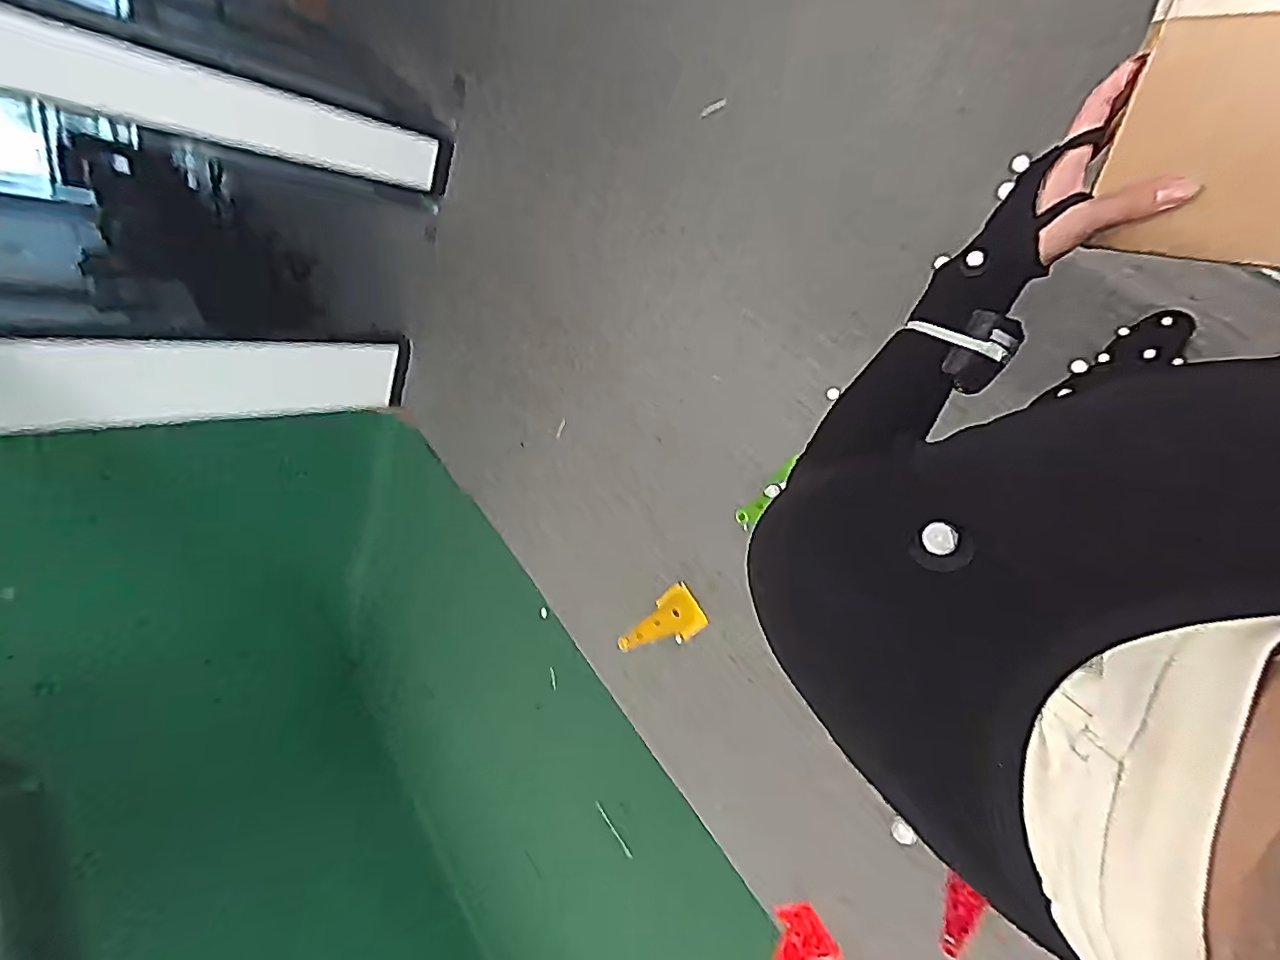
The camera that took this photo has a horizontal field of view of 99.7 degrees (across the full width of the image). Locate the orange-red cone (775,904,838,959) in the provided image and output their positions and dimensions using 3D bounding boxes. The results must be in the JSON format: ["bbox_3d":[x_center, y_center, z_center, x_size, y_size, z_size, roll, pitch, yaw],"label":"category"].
[{"bbox_3d":[0.528,1.770,1.954,0.199,0.360,0.198,53,130,18],"label":"orange-red cone"}]

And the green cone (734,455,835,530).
[{"bbox_3d":[0.410,0.072,1.686,0.200,0.368,0.202,53,131,21],"label":"green cone"}]
